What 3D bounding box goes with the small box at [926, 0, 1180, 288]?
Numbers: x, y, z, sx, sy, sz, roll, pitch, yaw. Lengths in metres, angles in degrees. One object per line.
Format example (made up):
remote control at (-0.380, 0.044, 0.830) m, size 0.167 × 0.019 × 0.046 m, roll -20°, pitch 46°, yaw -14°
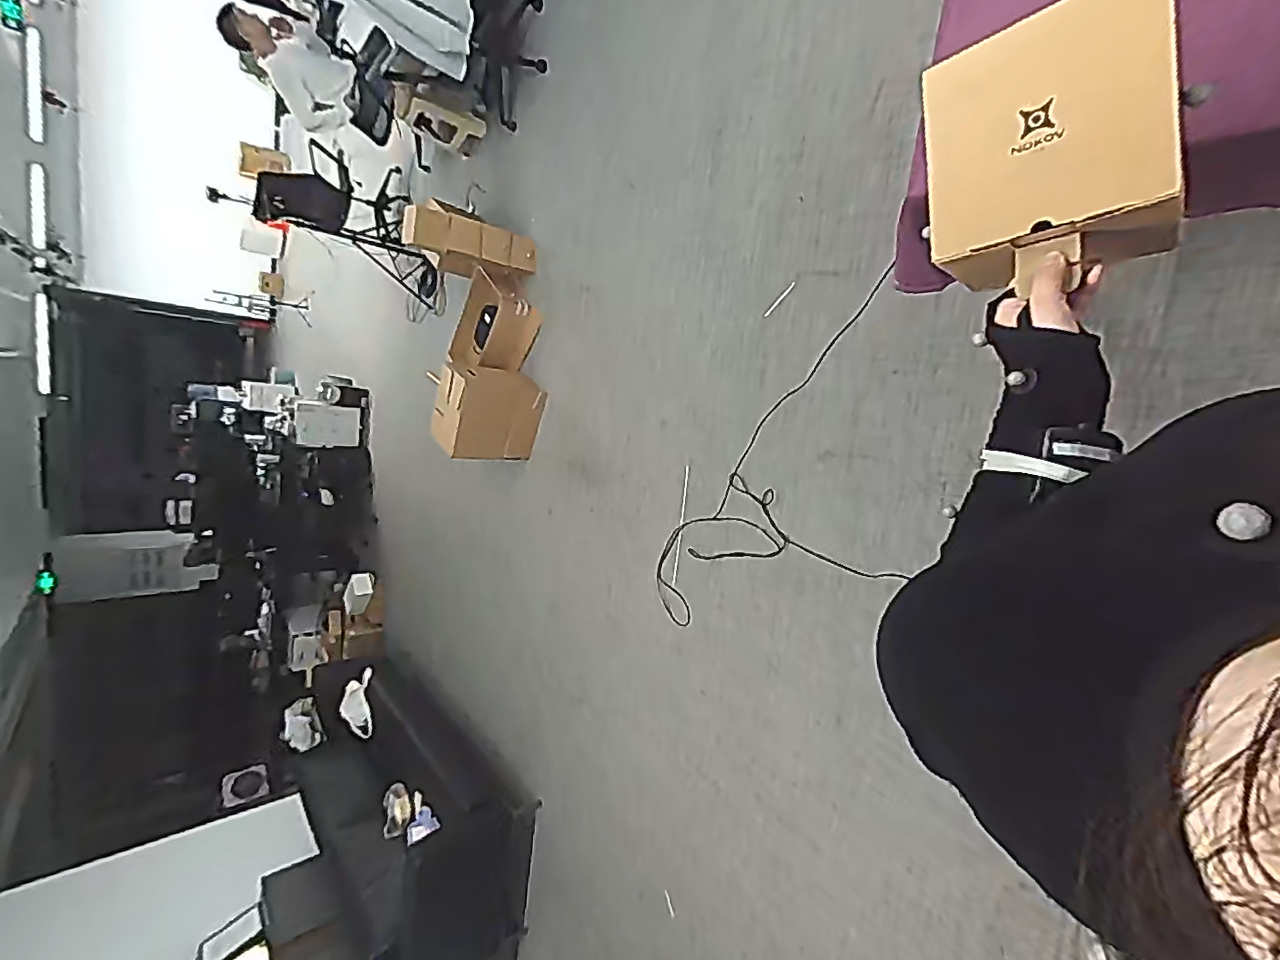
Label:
small box at (0.379, -0.296, 0.500) m, size 0.168 × 0.176 × 0.179 m, roll -1°, pitch 95°, yaw 43°
